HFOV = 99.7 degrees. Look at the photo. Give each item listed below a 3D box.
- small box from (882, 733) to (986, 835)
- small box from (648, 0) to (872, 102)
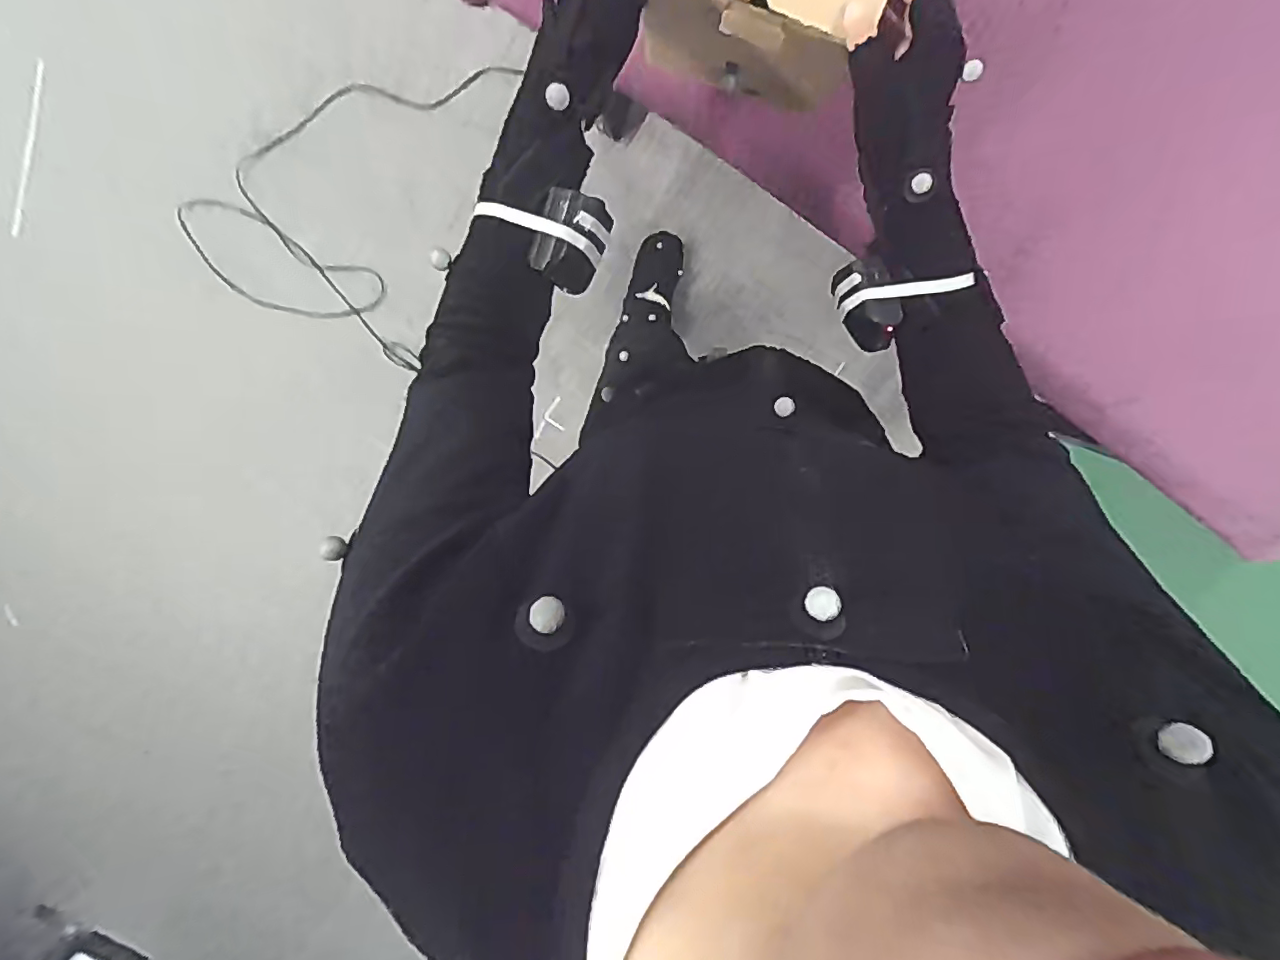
[{"bbox_3d":[0.849,0.879,1.585,0.179,0.176,0.168,33,108,-5],"label":"small box"},{"bbox_3d":[0.104,-0.440,0.420,0.168,0.176,0.179,17,110,-4],"label":"small box"}]
